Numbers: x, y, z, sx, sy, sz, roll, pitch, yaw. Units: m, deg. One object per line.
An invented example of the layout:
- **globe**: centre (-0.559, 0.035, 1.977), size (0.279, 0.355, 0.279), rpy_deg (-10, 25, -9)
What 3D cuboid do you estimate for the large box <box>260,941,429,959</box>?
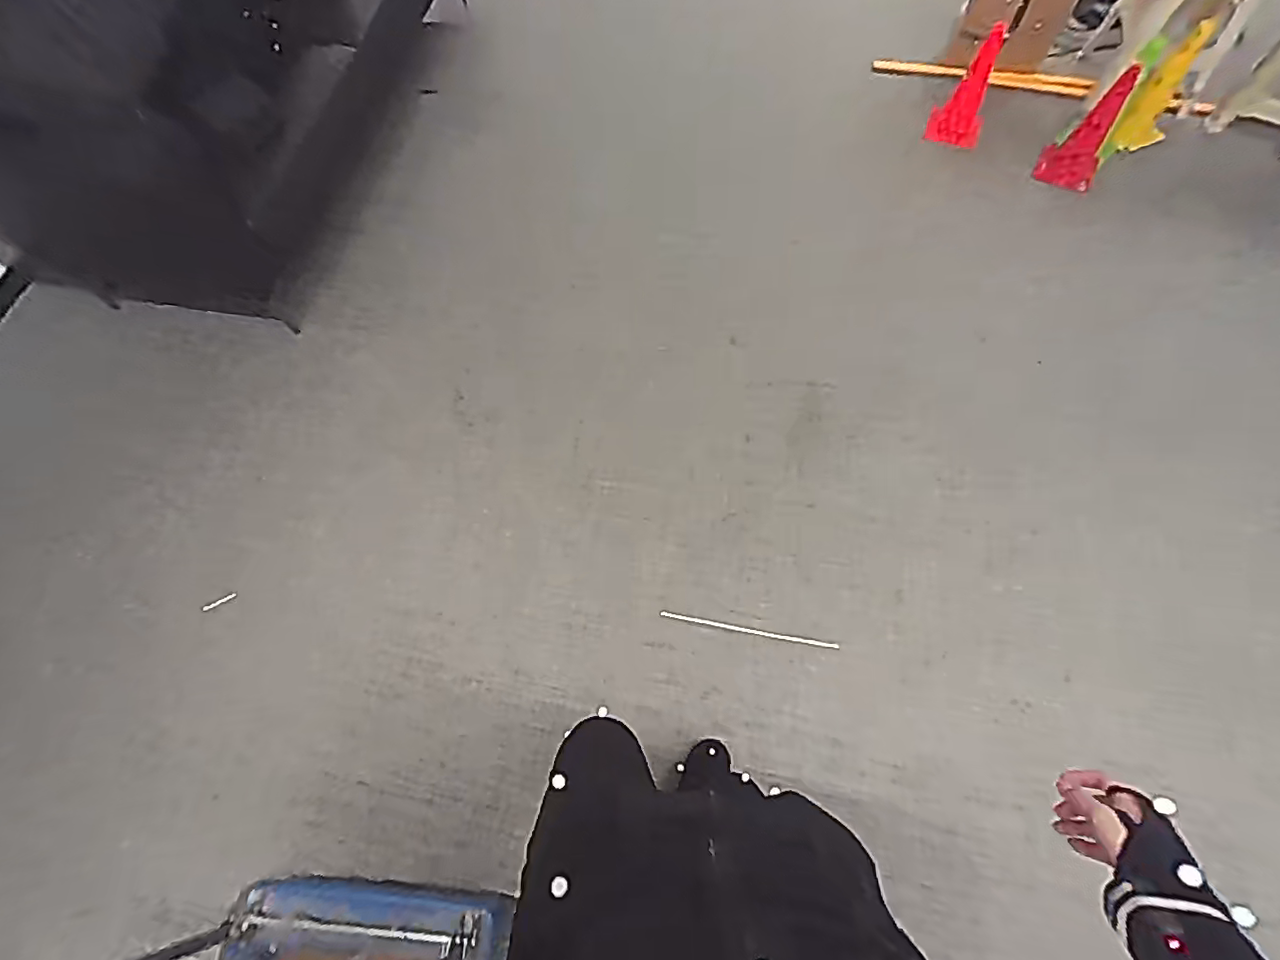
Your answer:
- **large box**: centre (-0.593, 1.083, 0.904), size (0.320, 0.320, 0.408), rpy_deg (2, 67, 5)
